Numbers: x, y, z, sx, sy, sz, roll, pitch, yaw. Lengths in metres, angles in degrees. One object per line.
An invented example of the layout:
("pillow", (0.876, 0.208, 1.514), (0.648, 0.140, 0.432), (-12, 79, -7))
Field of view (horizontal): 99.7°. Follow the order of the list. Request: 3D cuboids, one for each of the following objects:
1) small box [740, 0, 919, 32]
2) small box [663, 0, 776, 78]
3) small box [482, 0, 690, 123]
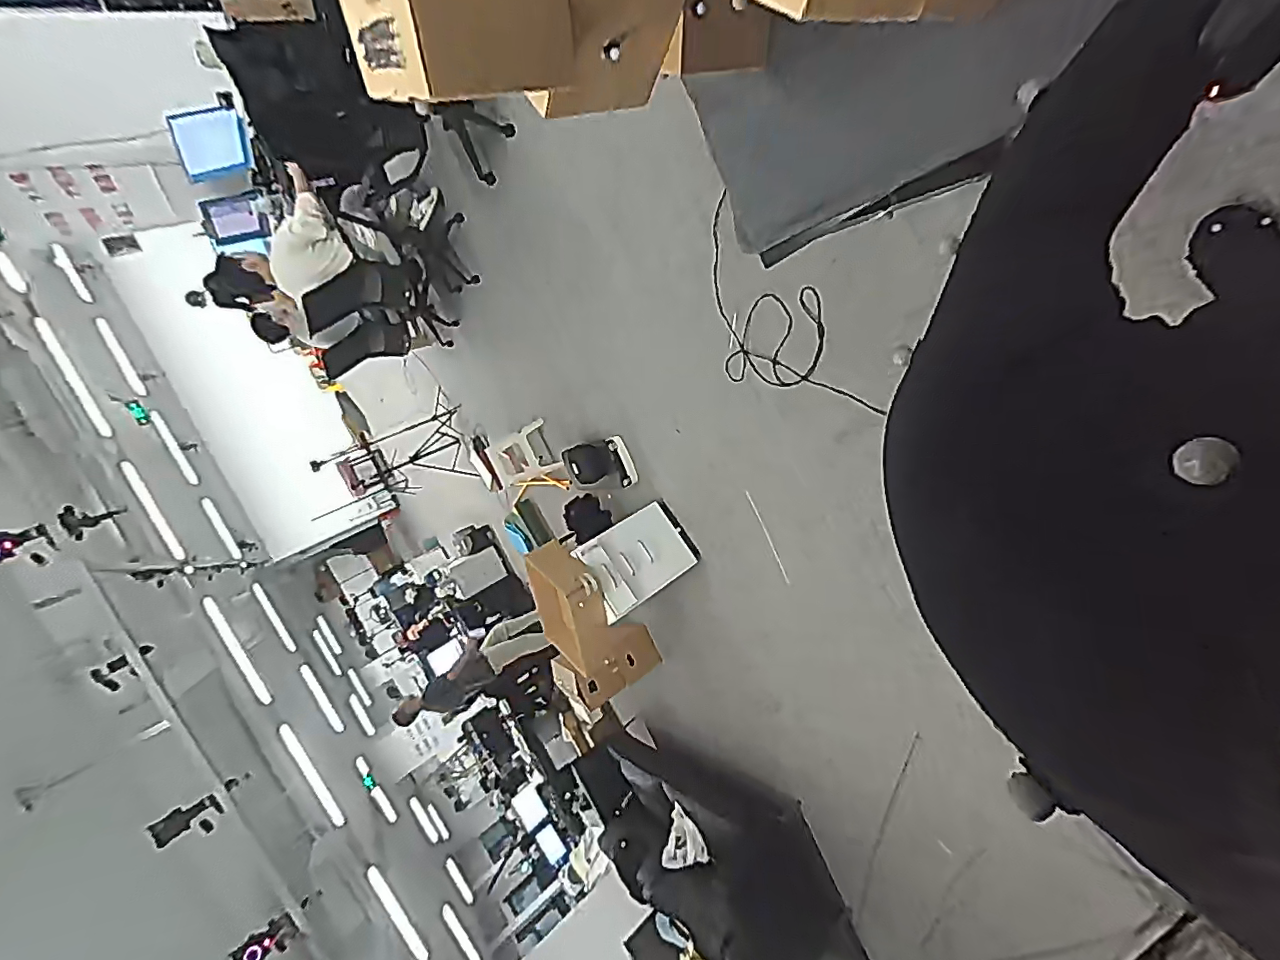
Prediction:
("small box", (0.143, -0.465, 0.399), (0.179, 0.176, 0.168), (48, 148, 24))
("small box", (0.064, -0.639, 0.709), (0.179, 0.176, 0.168), (38, 144, 35))
("small box", (-0.060, -0.564, 0.629), (0.168, 0.176, 0.179), (55, 151, 8))
